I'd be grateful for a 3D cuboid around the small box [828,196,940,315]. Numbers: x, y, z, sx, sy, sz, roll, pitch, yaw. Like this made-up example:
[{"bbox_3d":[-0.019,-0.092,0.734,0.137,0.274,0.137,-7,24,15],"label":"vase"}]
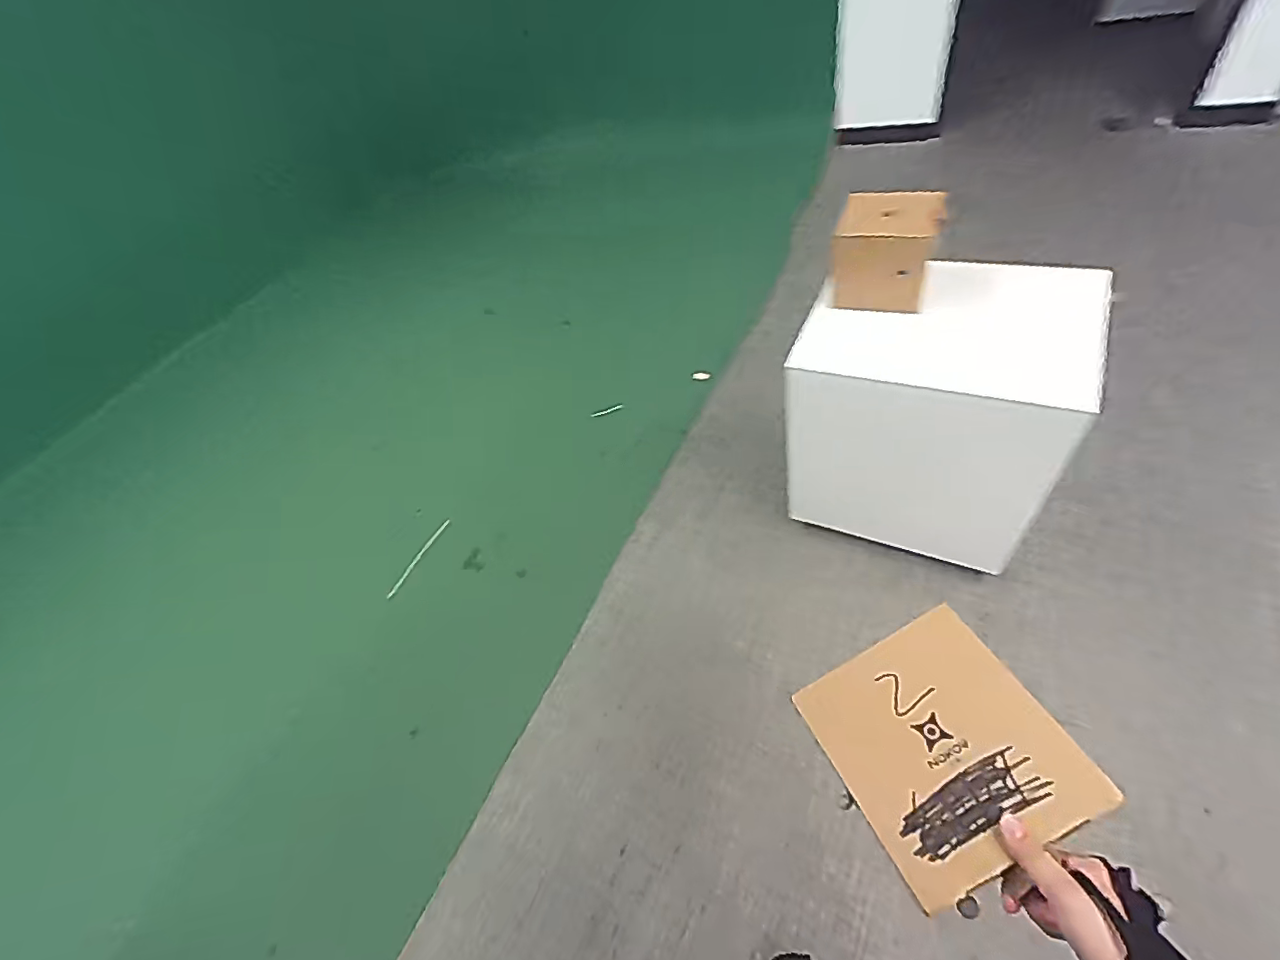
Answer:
[{"bbox_3d":[0.494,-0.457,1.109,0.179,0.176,0.168,11,55,24],"label":"small box"}]
